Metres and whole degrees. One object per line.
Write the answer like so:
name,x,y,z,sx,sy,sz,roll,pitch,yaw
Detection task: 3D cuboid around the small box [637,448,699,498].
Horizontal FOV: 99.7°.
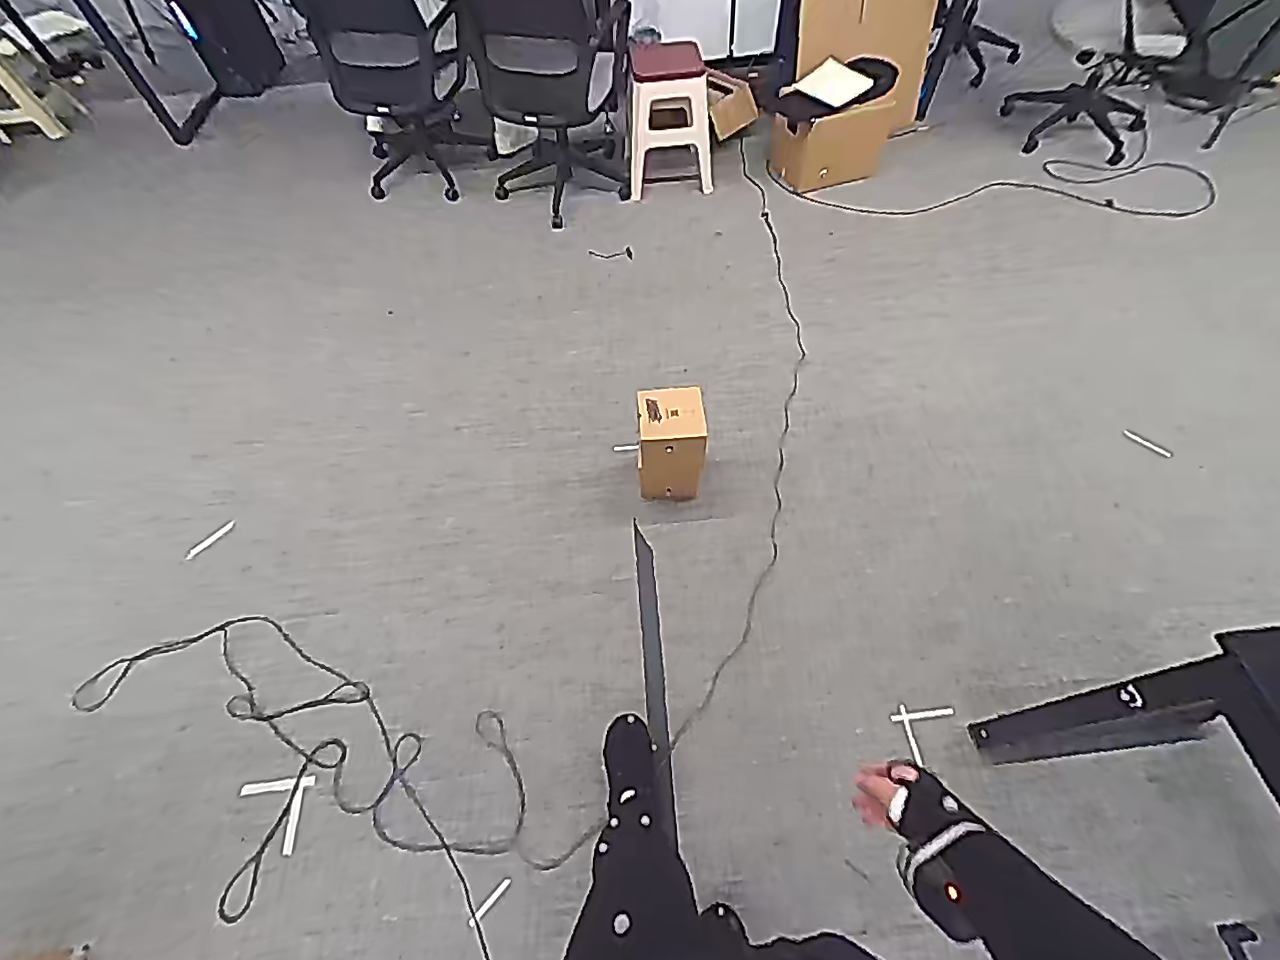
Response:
small box,0.083,-0.055,1.643,0.179,0.176,0.168,1,59,2

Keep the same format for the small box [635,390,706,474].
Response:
small box,0.083,-0.128,1.494,0.179,0.176,0.168,-4,59,0
